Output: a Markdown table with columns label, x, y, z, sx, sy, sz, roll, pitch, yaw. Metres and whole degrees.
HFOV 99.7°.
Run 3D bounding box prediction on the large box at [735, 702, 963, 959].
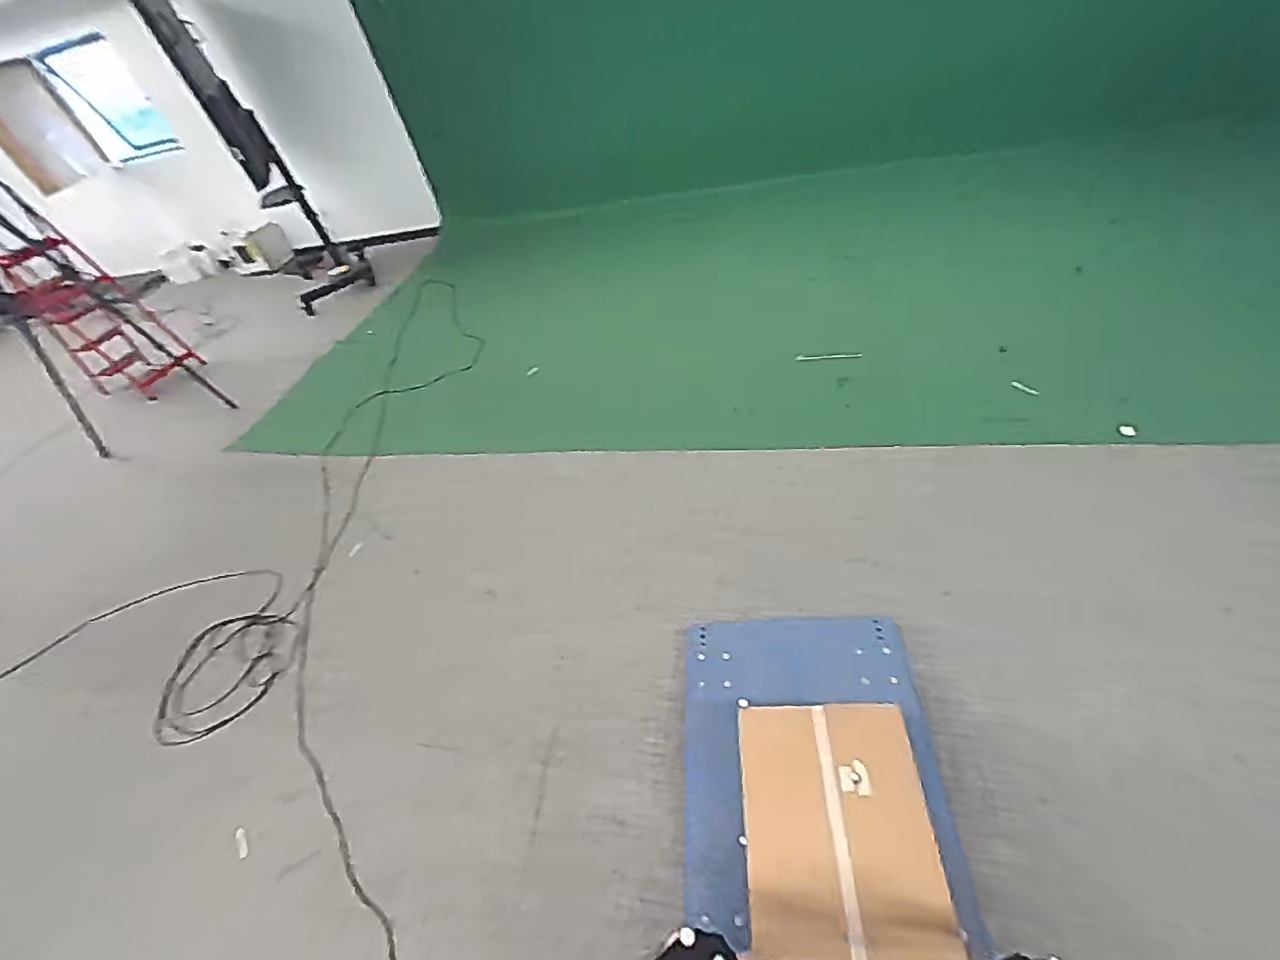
| label | x | y | z | sx | sy | sz | roll | pitch | yaw |
| --- | --- | --- | --- | --- | --- | --- | --- | --- | --- |
| large box | 0.366 | 0.699 | 1.054 | 0.320 | 0.320 | 0.408 | -5 | 44 | 10 |
